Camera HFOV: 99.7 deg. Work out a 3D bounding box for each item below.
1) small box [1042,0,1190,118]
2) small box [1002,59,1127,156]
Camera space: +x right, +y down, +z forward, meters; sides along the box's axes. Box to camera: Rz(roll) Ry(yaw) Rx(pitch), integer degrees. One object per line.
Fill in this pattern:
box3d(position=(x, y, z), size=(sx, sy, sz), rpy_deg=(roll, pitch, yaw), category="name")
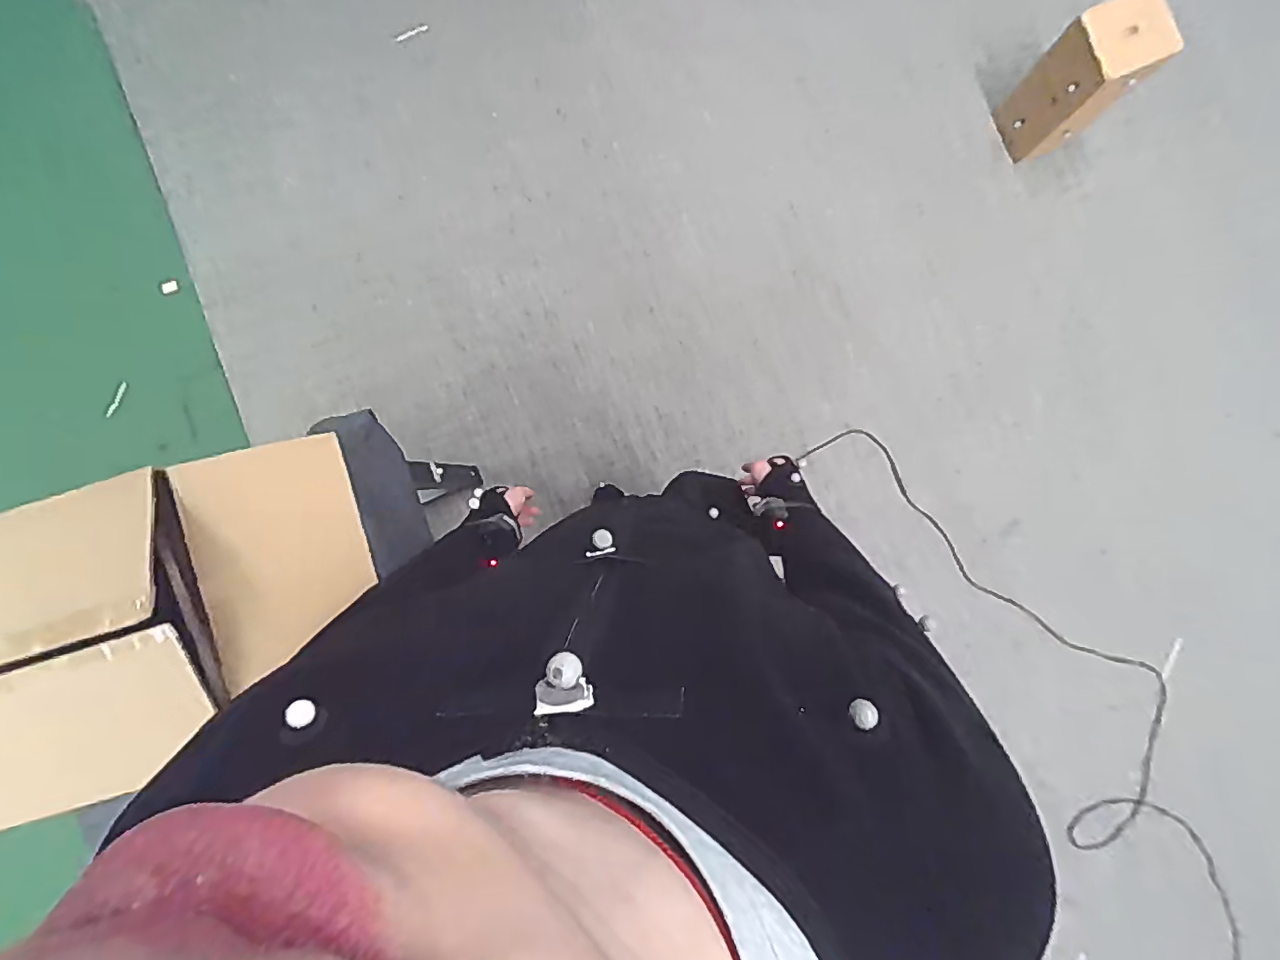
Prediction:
box3d(position=(1.077, -0.986, 1.246), size=(0.179, 0.176, 0.168), rpy_deg=(-24, 91, 2), category="small box")
box3d(position=(1.088, -0.991, 1.408), size=(0.179, 0.176, 0.168), rpy_deg=(-24, 90, 4), category="small box")
